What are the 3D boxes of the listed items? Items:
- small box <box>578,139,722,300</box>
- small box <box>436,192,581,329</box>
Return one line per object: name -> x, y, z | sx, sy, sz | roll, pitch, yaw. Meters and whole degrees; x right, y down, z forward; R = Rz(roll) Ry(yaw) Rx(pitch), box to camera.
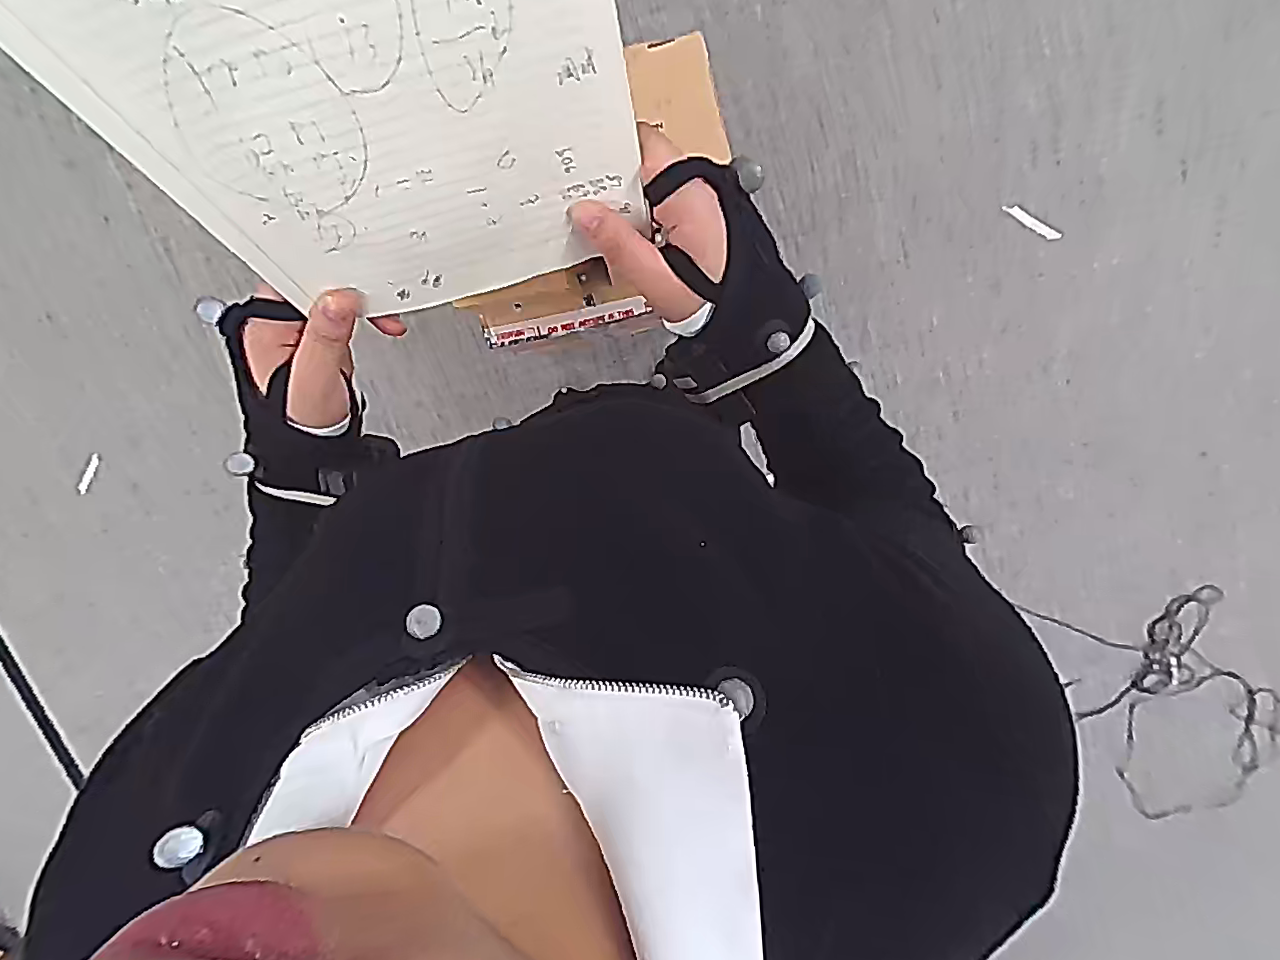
small box -> 0.013, -0.396, 0.853 | 0.179, 0.176, 0.168 | -17, 102, 3
small box -> -0.196, -0.339, 0.866 | 0.179, 0.176, 0.168 | -8, 103, 4
